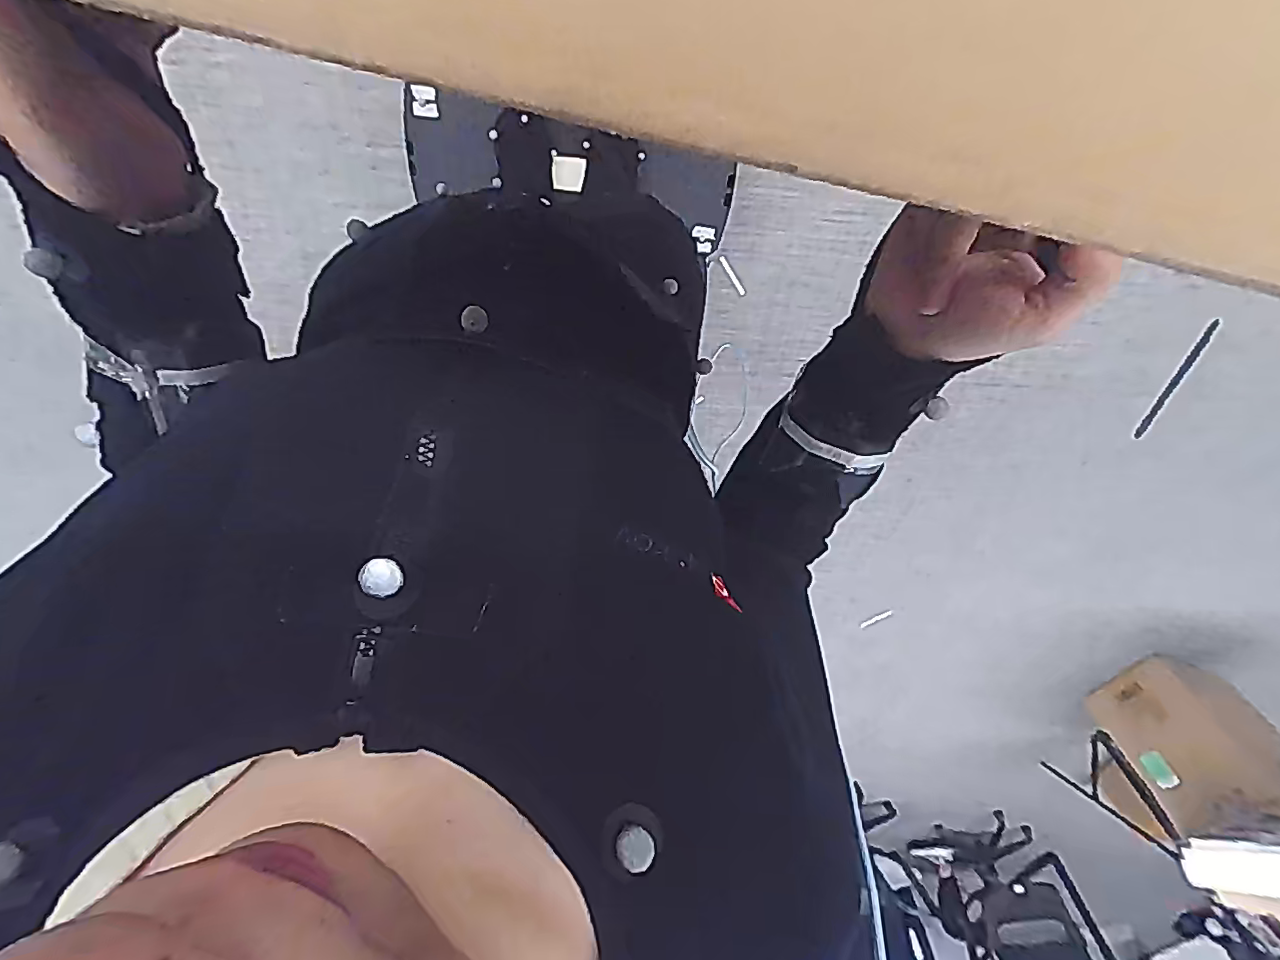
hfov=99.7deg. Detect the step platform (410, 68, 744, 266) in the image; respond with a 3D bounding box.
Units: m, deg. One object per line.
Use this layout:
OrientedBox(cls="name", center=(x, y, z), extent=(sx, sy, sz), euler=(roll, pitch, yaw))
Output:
OrientedBox(cls="step platform", center=(-0.127, -0.675, 1.170), extent=(0.684, 0.204, 0.286), euler=(7, 127, -8))
